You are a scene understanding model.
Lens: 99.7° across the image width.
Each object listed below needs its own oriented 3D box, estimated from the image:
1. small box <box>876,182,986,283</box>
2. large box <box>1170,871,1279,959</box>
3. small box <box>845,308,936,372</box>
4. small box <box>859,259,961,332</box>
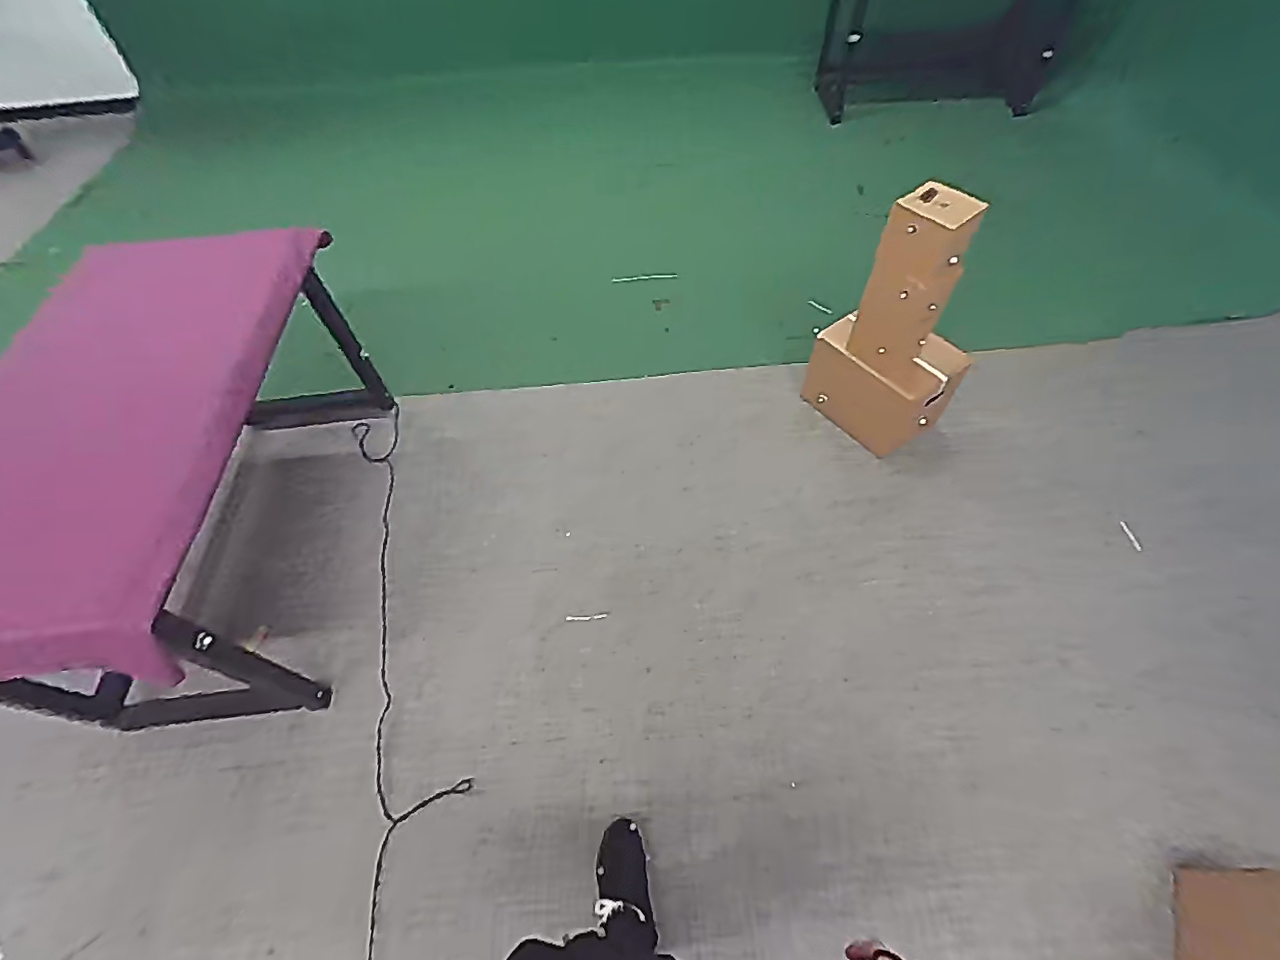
[{"bbox_3d":[0.778,-0.668,1.467,0.168,0.176,0.179,-35,62,-20],"label":"small box"},{"bbox_3d":[1.273,1.022,0.994,0.320,0.320,0.408,23,59,16],"label":"large box"},{"bbox_3d":[0.793,-0.469,1.728,0.168,0.176,0.179,-32,60,-18],"label":"small box"},{"bbox_3d":[0.786,-0.561,1.592,0.168,0.176,0.179,-29,59,-18],"label":"small box"}]
